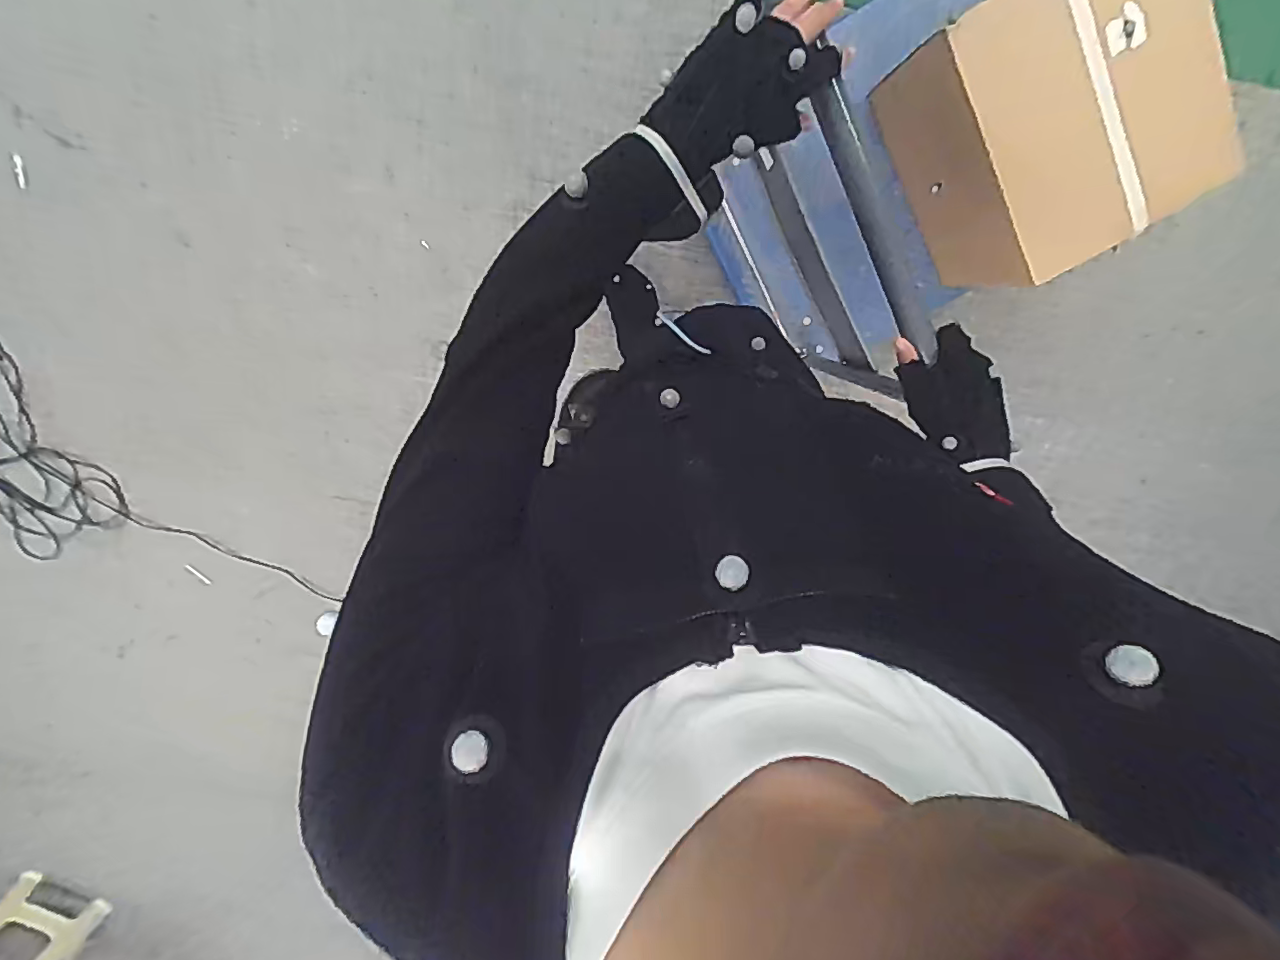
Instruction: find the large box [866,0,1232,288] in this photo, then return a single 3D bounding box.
[{"bbox_3d":[0.650,-0.587,0.919,0.320,0.320,0.408,-29,105,12],"label":"large box"}]
